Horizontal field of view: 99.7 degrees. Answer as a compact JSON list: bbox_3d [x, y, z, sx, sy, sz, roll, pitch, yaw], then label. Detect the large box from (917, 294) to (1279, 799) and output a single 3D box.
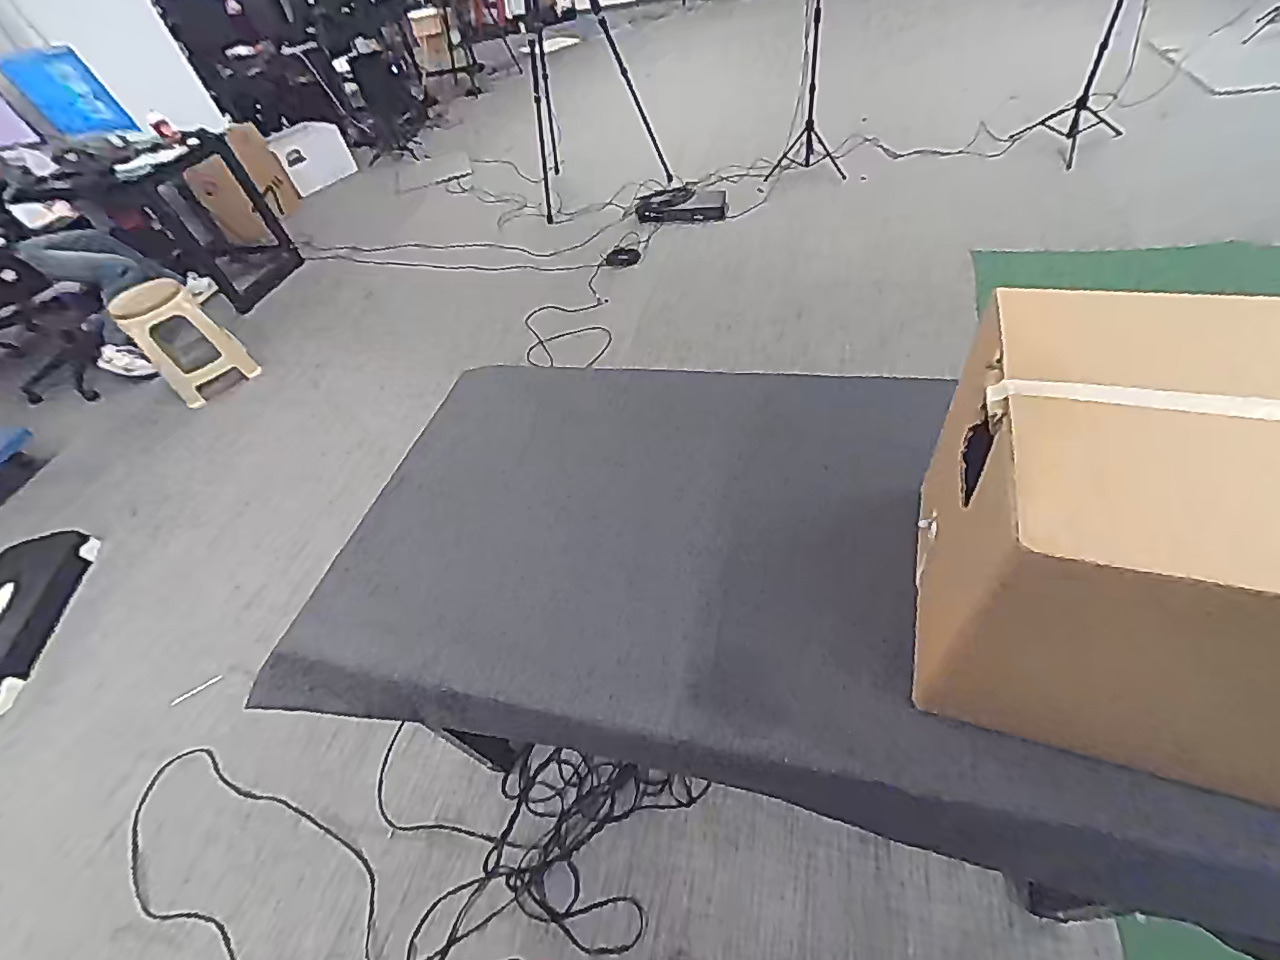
[{"bbox_3d":[0.502,0.059,0.487,0.408,0.320,0.320,10,53,19],"label":"large box"}]
